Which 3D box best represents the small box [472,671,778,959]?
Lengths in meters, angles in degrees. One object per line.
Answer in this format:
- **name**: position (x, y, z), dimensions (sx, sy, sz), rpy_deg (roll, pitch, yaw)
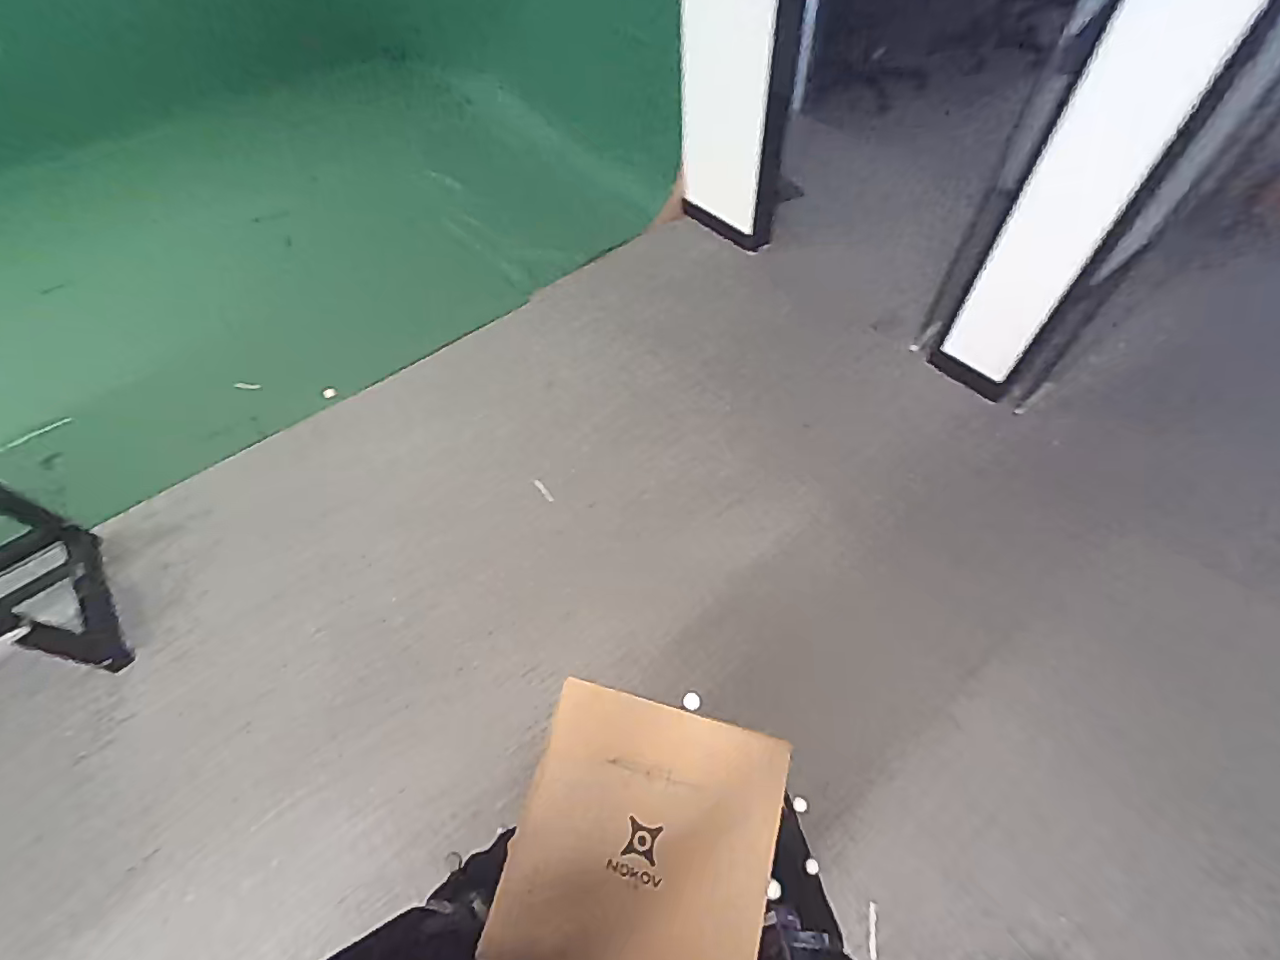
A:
- **small box**: position (0.000, 0.265, 0.424), dimensions (0.168, 0.176, 0.179), rpy_deg (13, 67, 8)
